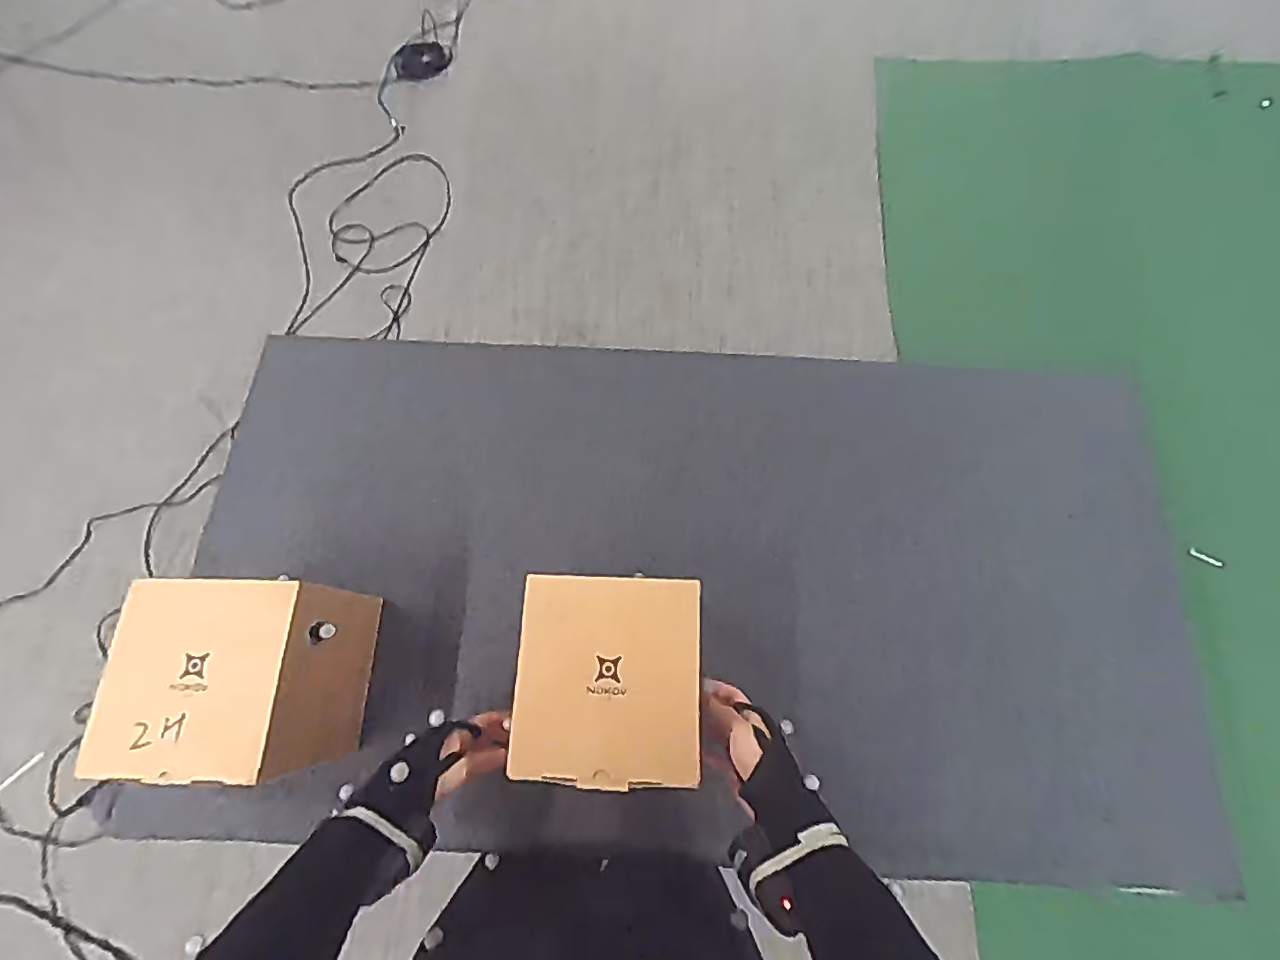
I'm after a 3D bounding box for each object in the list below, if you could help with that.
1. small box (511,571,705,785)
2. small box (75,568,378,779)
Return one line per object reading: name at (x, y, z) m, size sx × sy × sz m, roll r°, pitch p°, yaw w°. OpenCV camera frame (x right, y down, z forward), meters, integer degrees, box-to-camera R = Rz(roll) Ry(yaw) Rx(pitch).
small box at (-0.024, 0.196, 0.558) m, size 0.168 × 0.176 × 0.179 m, roll 2°, pitch 72°, yaw 2°
small box at (-0.399, 0.195, 0.563) m, size 0.168 × 0.176 × 0.179 m, roll 1°, pitch 72°, yaw 2°
